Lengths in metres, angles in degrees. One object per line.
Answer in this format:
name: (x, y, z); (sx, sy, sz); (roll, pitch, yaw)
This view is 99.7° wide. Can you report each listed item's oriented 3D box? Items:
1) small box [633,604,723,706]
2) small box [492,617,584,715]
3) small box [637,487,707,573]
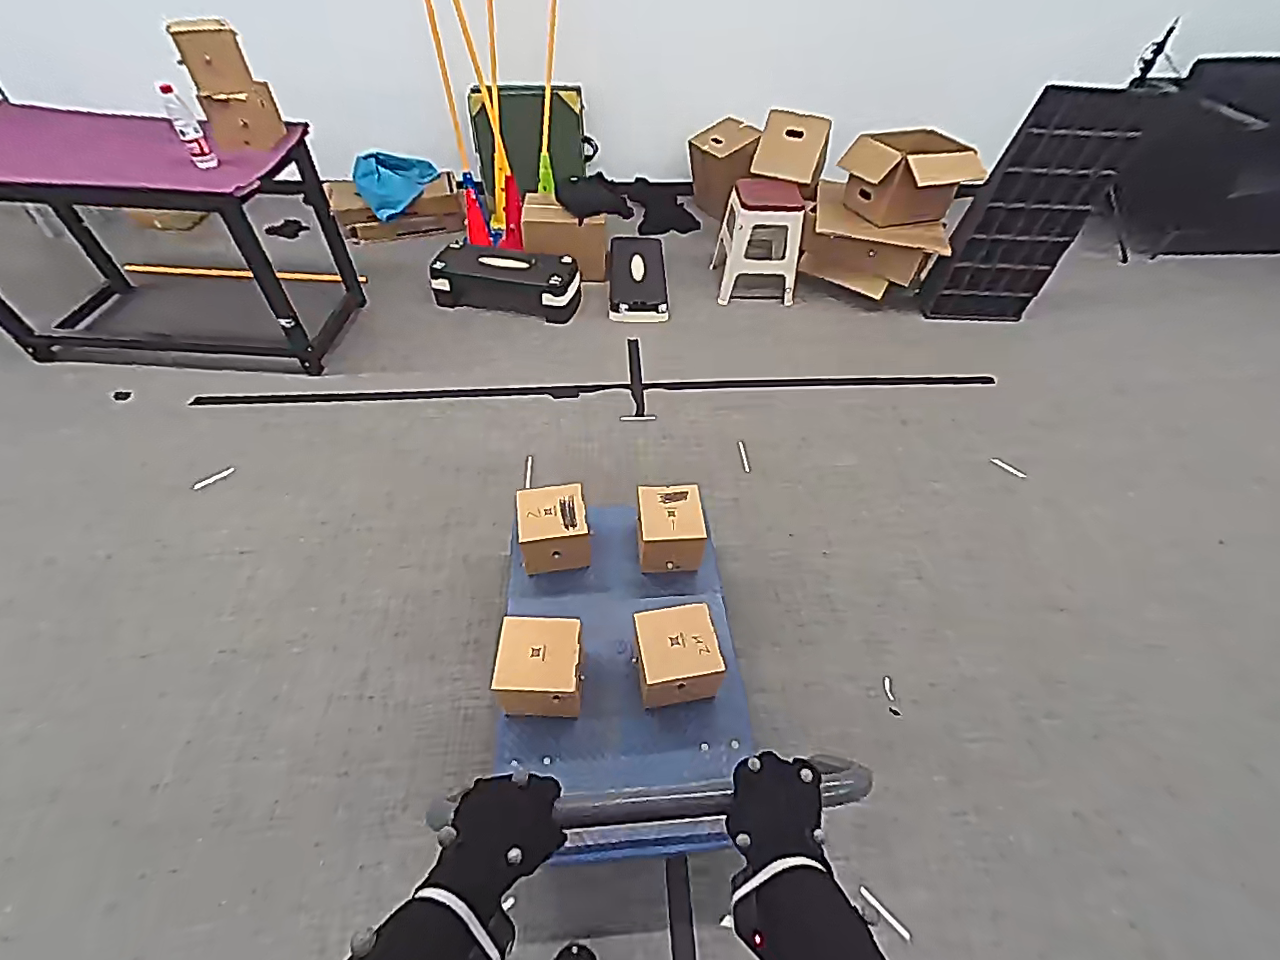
small box: (0.081, 0.413, 1.263); (0.179, 0.176, 0.168); (-6, 51, -8)
small box: (-0.224, 0.428, 1.236); (0.179, 0.176, 0.168); (3, 50, -3)
small box: (0.081, 0.139, 1.489); (0.168, 0.176, 0.179); (-2, 52, -4)
